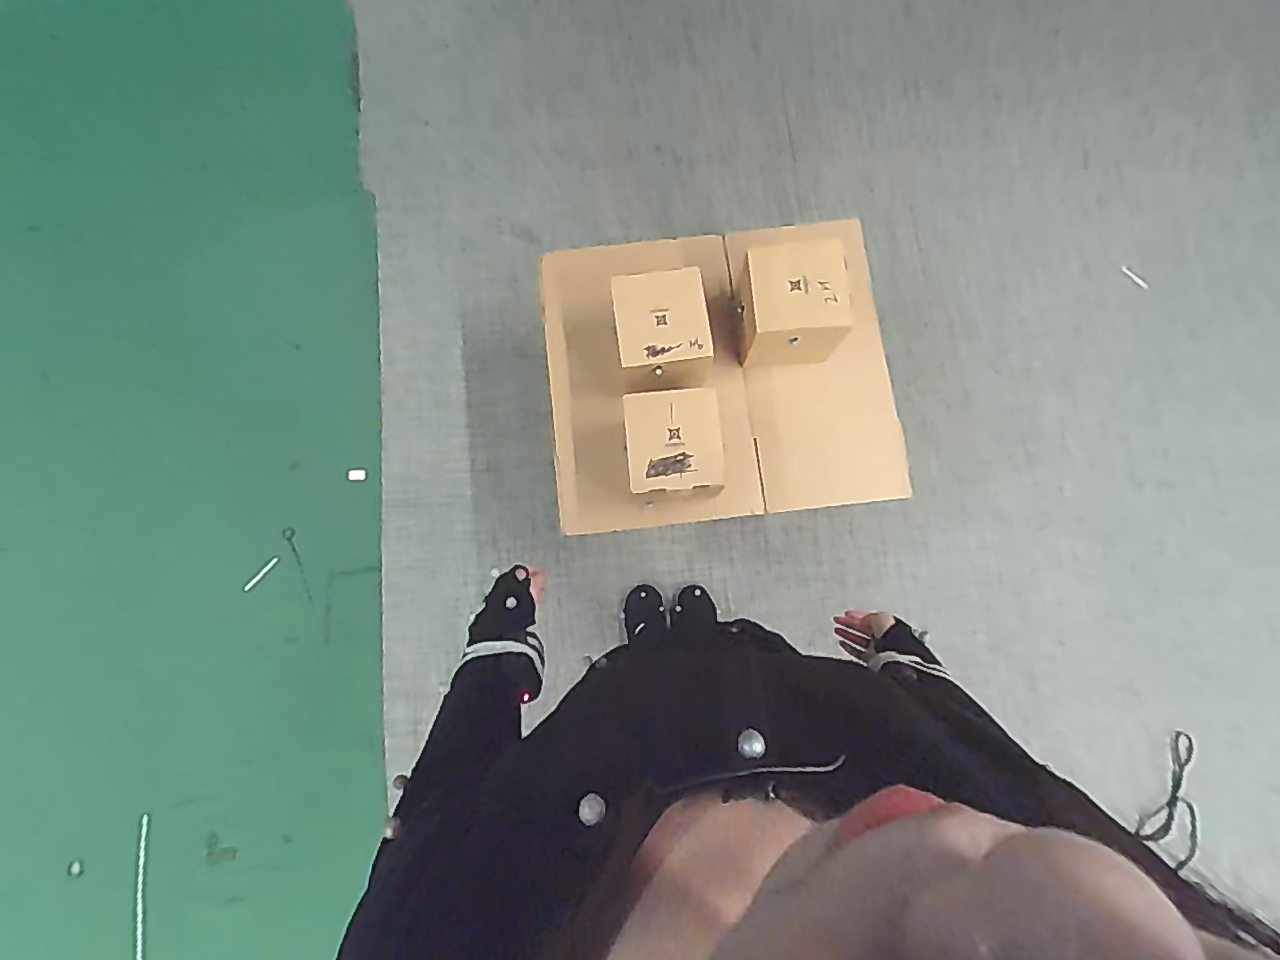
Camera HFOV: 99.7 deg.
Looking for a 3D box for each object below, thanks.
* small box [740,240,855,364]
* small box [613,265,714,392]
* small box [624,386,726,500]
[{"bbox_3d":[0.290,-0.331,1.038,0.179,0.176,0.168,-4,81,2],"label":"small box"},{"bbox_3d":[0.042,-0.277,1.032,0.168,0.176,0.179,-7,79,1],"label":"small box"},{"bbox_3d":[0.062,-0.059,0.996,0.168,0.176,0.179,-5,80,1],"label":"small box"}]
